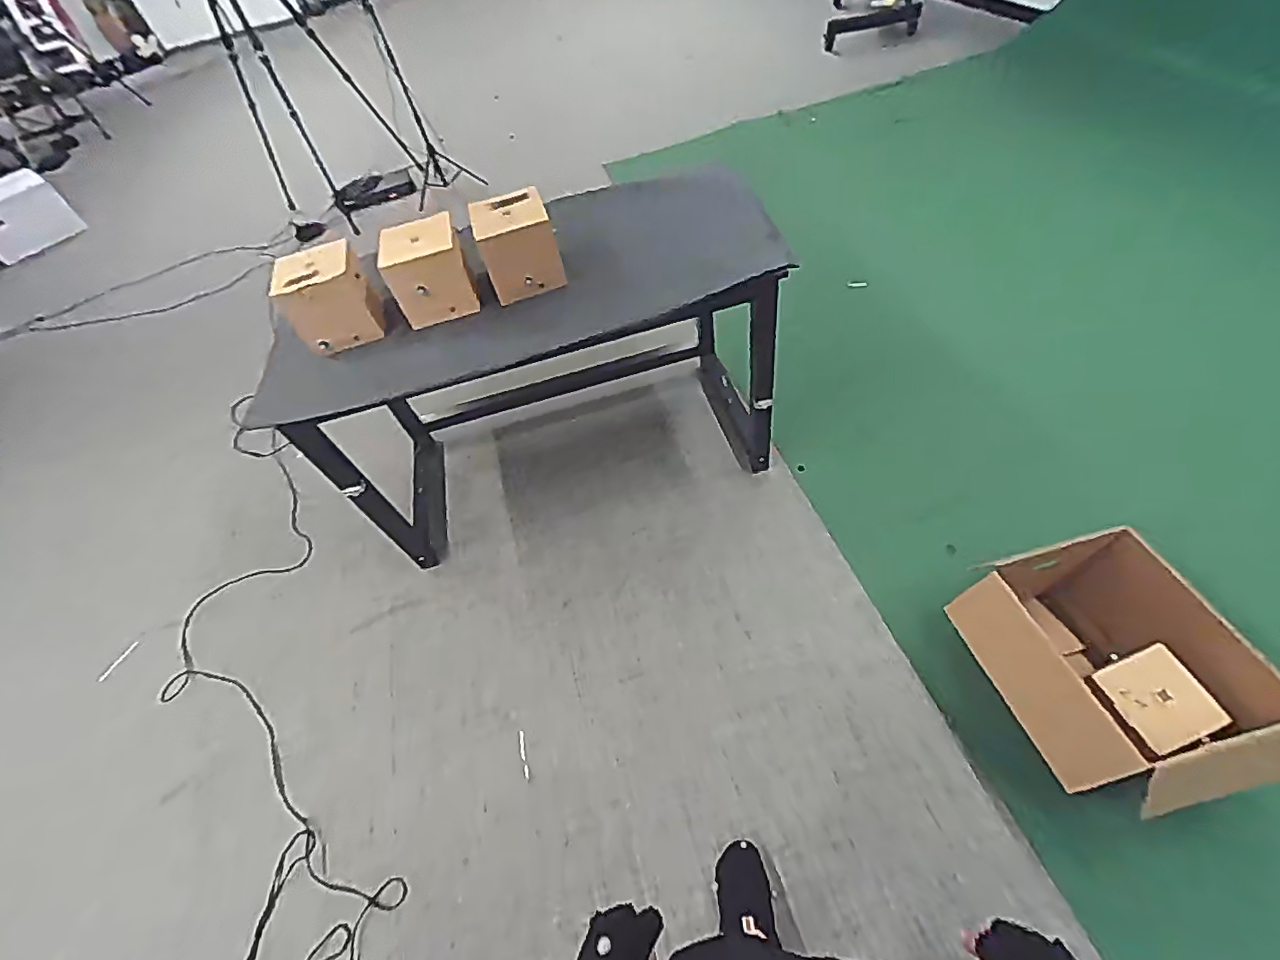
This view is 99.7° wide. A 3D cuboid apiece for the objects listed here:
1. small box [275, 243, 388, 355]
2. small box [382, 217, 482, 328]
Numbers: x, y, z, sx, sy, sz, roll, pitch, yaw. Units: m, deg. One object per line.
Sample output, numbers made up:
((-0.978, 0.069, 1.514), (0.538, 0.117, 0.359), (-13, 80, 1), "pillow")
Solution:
((-0.707, -0.412, 1.259), (0.168, 0.176, 0.179), (-20, 51, -5), "small box")
((-0.481, -0.477, 1.268), (0.168, 0.176, 0.179), (-18, 51, -3), "small box")
